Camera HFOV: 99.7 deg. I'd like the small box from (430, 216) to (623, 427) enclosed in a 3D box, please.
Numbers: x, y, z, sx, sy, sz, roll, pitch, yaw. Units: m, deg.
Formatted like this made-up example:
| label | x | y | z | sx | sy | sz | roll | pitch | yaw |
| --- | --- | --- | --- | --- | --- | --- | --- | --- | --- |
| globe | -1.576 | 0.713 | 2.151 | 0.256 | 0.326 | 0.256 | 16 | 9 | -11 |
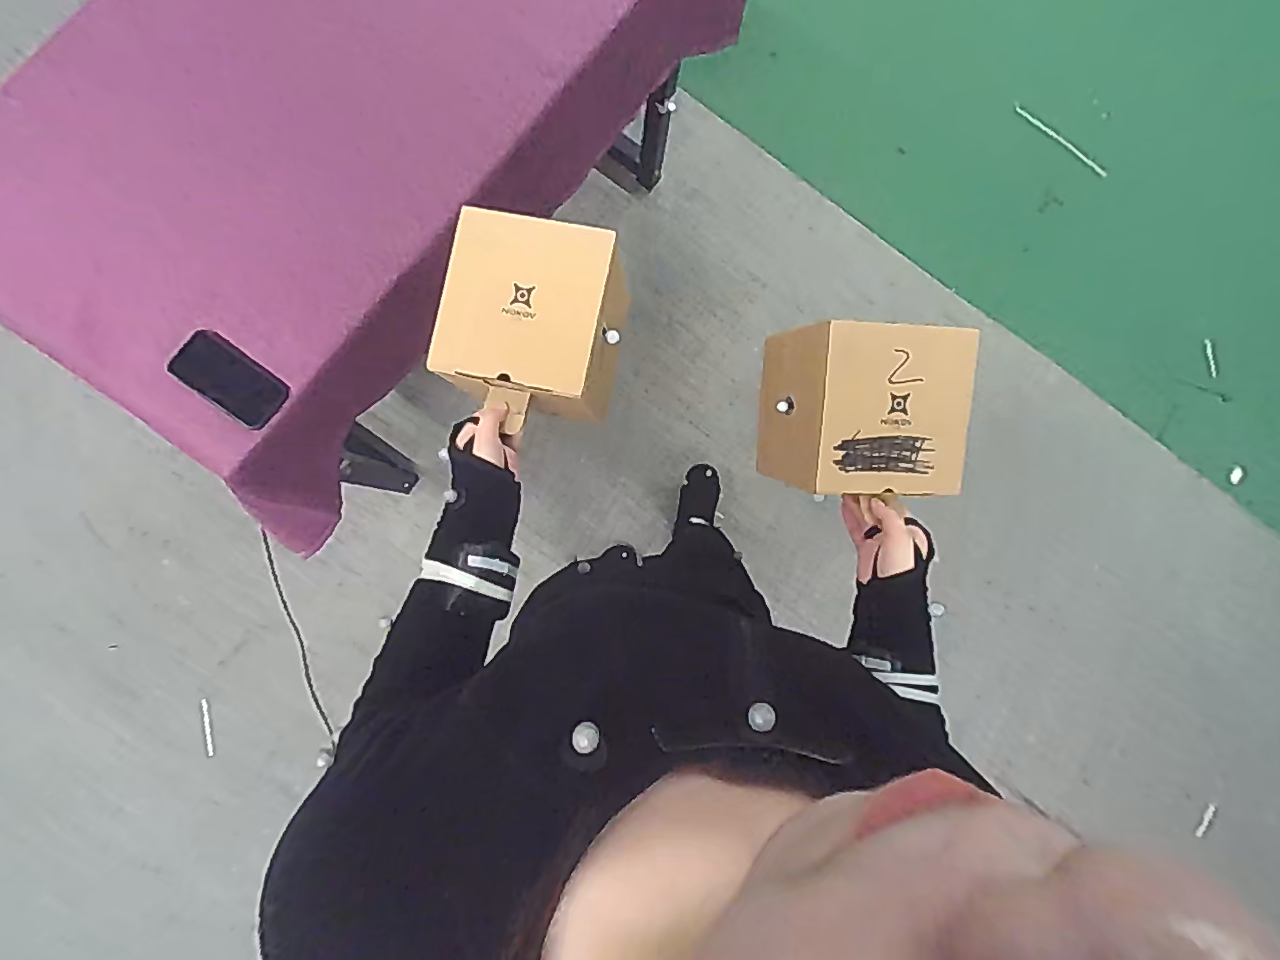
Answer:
| label | x | y | z | sx | sy | sz | roll | pitch | yaw |
| --- | --- | --- | --- | --- | --- | --- | --- | --- | --- |
| small box | -0.117 | -0.172 | 0.637 | 0.168 | 0.176 | 0.179 | 11 | 87 | 4 |
